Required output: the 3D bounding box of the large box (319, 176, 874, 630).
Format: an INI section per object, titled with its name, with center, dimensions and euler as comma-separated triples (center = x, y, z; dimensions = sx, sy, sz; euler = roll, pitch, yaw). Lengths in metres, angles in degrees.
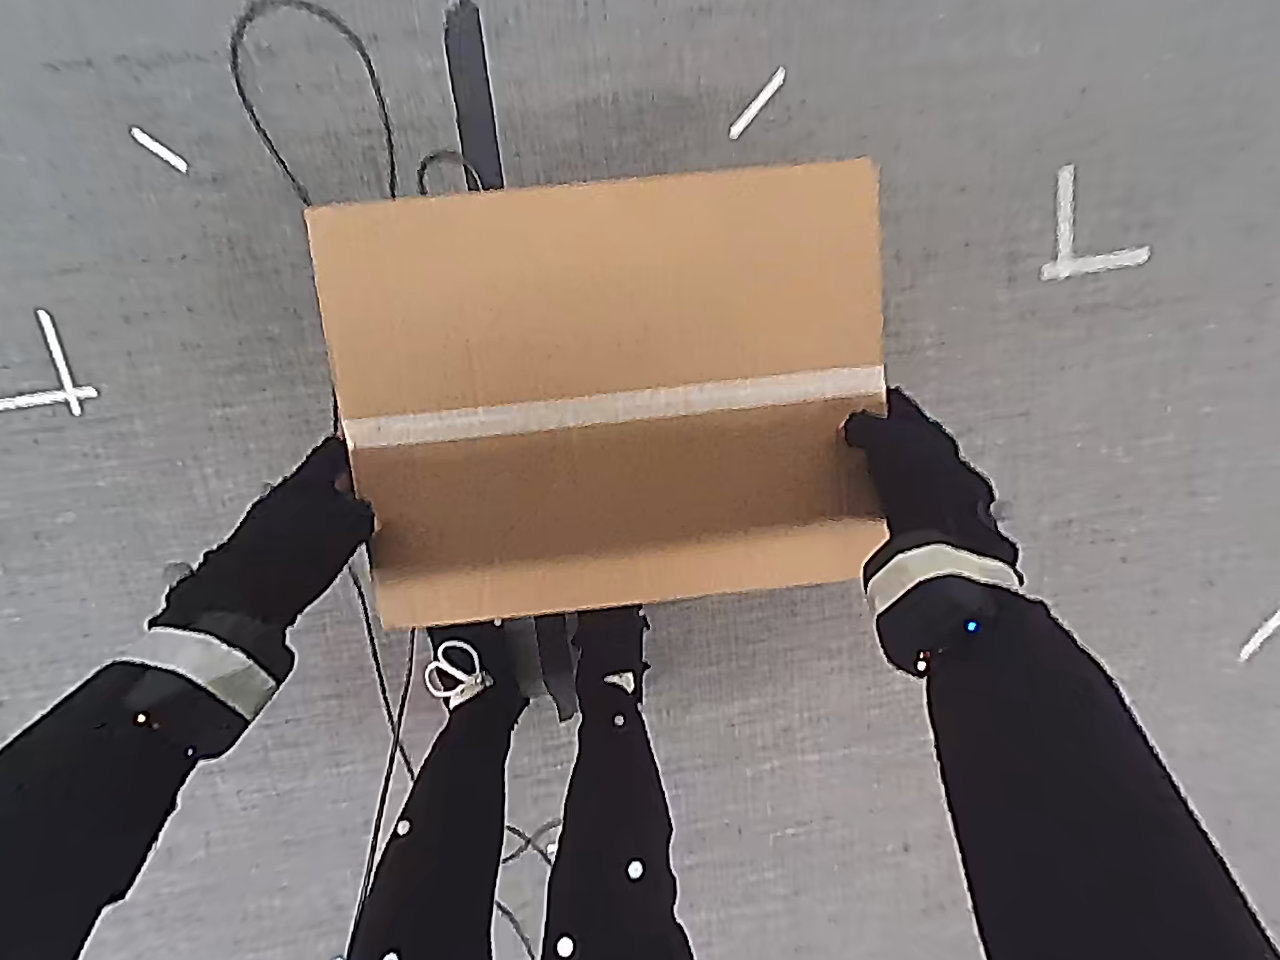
[large box]
center = -0.024, -0.076, 0.563
dimensions = 0.408, 0.320, 0.320
euler = -6, 99, -1
